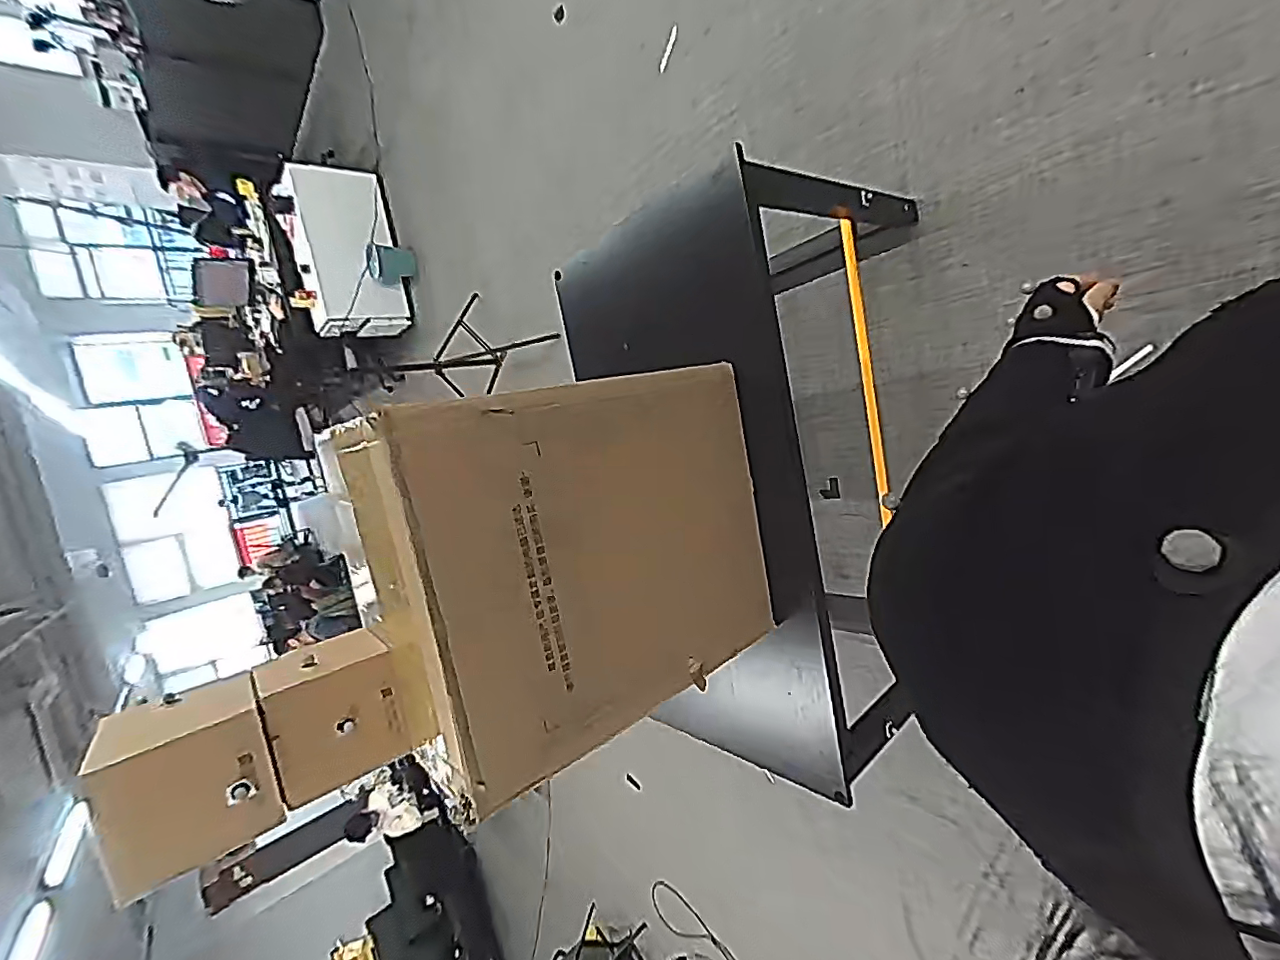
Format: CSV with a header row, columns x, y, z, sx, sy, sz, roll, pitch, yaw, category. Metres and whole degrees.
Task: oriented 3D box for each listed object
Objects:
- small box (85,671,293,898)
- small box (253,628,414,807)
x,y,z,sx,sy,sz,roll,pitch,yaw,category
-0.576,0.374,0.709,0.179,0.176,0.168,0,103,51,small box
-0.460,0.342,0.822,0.179,0.176,0.168,-2,100,51,small box
